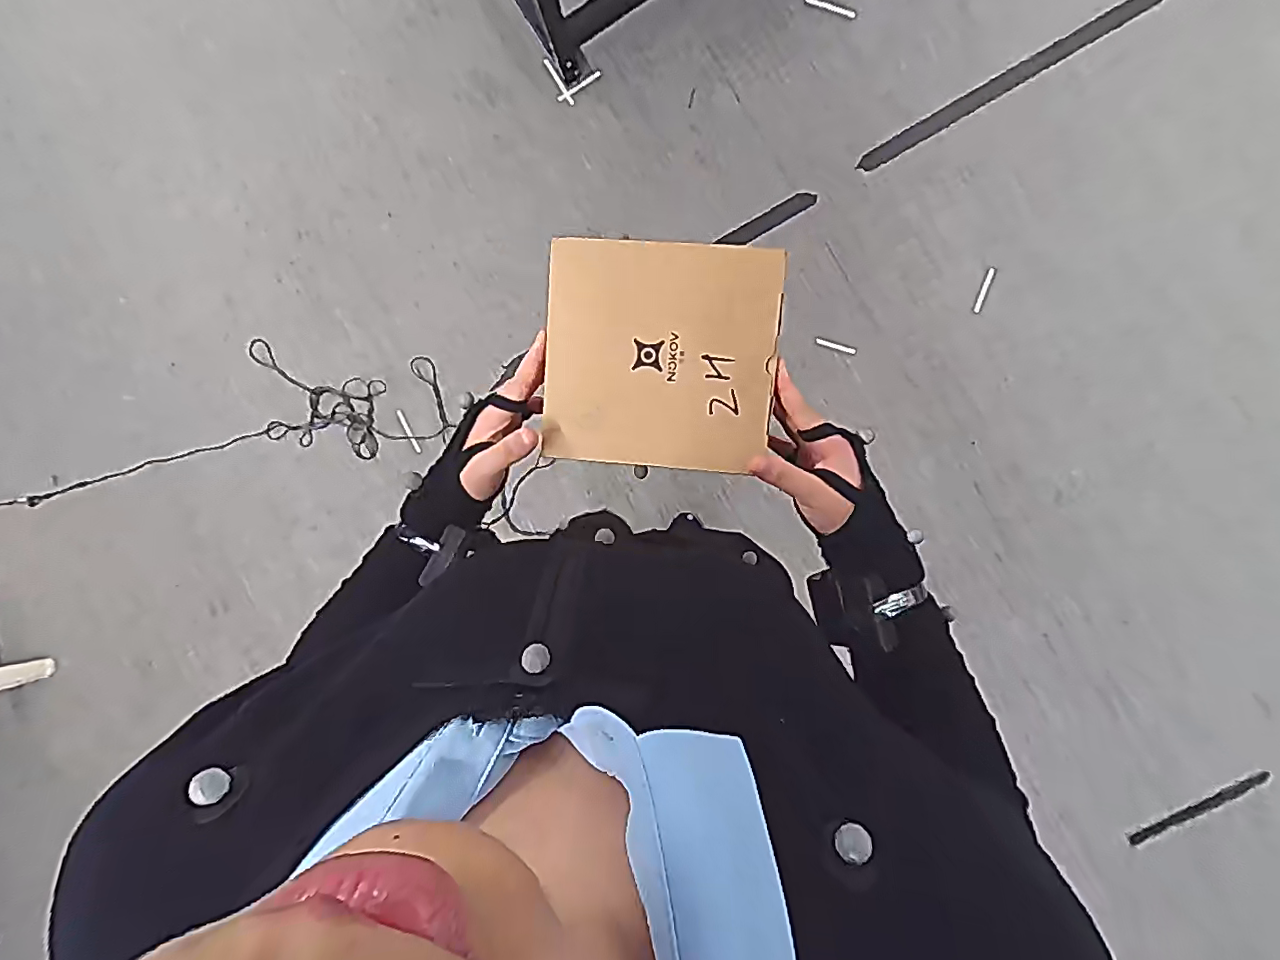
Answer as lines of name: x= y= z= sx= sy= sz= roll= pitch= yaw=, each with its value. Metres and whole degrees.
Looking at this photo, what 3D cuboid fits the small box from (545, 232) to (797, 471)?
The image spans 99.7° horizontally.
small box: x=0.027 y=-0.106 z=0.479 sx=0.179 sy=0.176 sz=0.168 roll=5 pitch=99 yaw=5
